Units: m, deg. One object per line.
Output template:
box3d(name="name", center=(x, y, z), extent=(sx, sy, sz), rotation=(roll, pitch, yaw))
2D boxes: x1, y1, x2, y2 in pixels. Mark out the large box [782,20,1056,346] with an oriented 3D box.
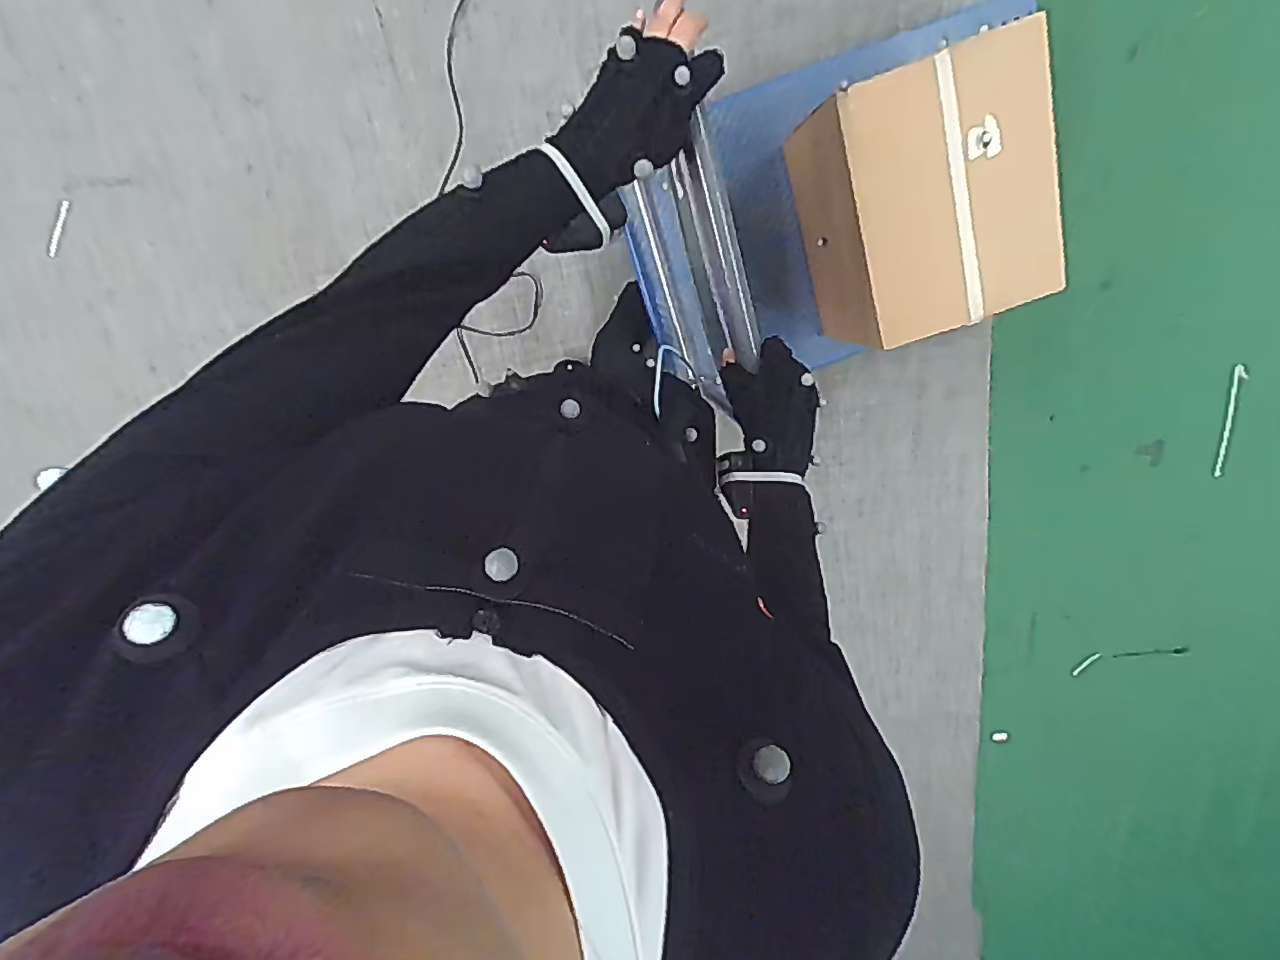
box3d(name="large box", center=(0.496, -0.505, 1.012), extent=(0.320, 0.320, 0.408), rotation=(-18, 108, 5))
